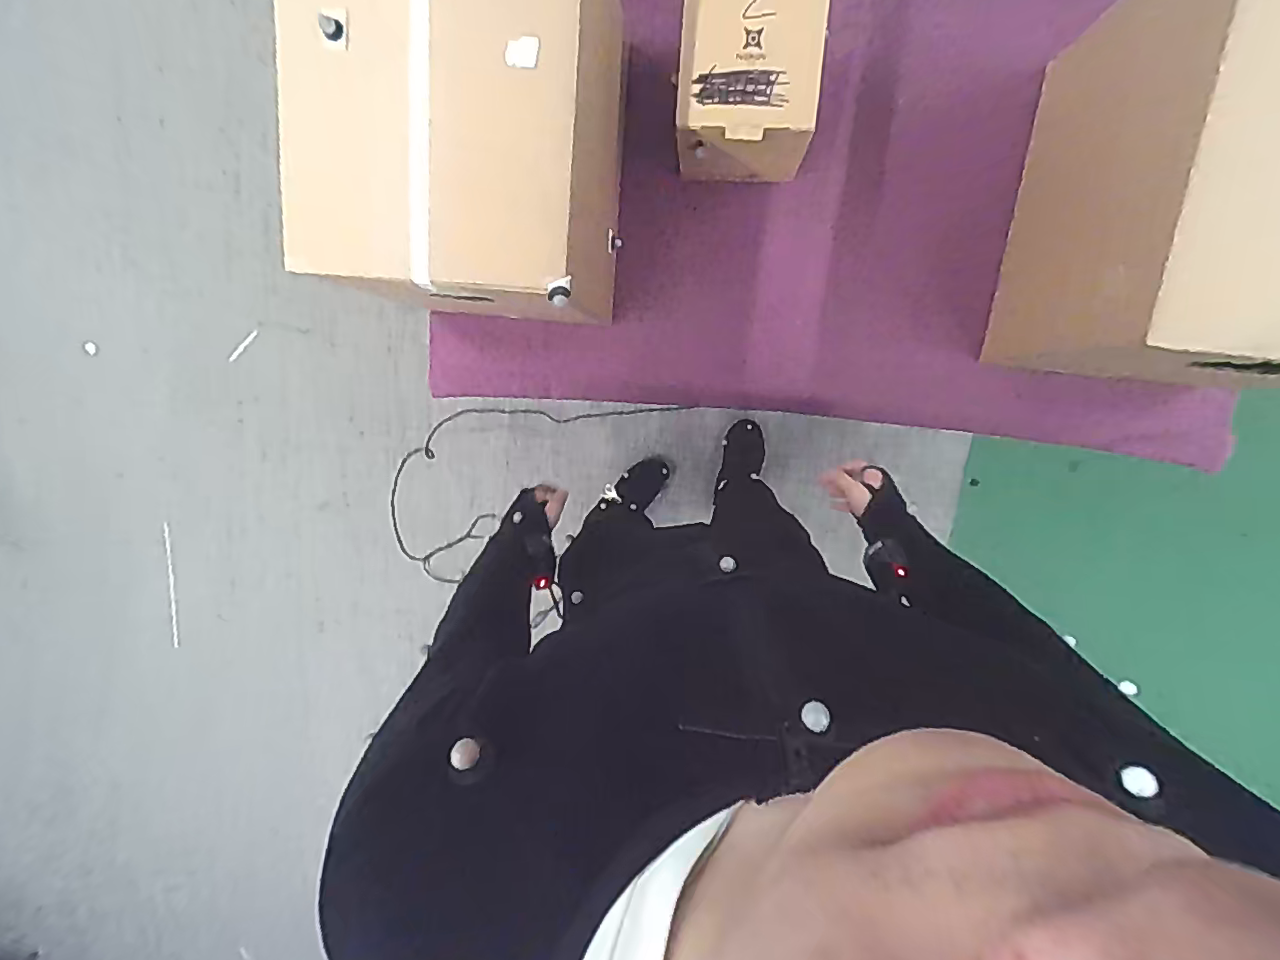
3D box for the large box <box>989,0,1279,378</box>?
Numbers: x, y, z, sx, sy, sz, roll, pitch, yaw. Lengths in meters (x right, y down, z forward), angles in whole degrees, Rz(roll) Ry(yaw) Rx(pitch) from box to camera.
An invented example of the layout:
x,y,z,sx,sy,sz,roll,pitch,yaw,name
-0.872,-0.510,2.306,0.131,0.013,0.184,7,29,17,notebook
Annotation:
x,y,z,sx,sy,sz,roll,pitch,yaw,name
0.663,-0.331,0.607,0.320,0.320,0.408,7,101,6,large box
